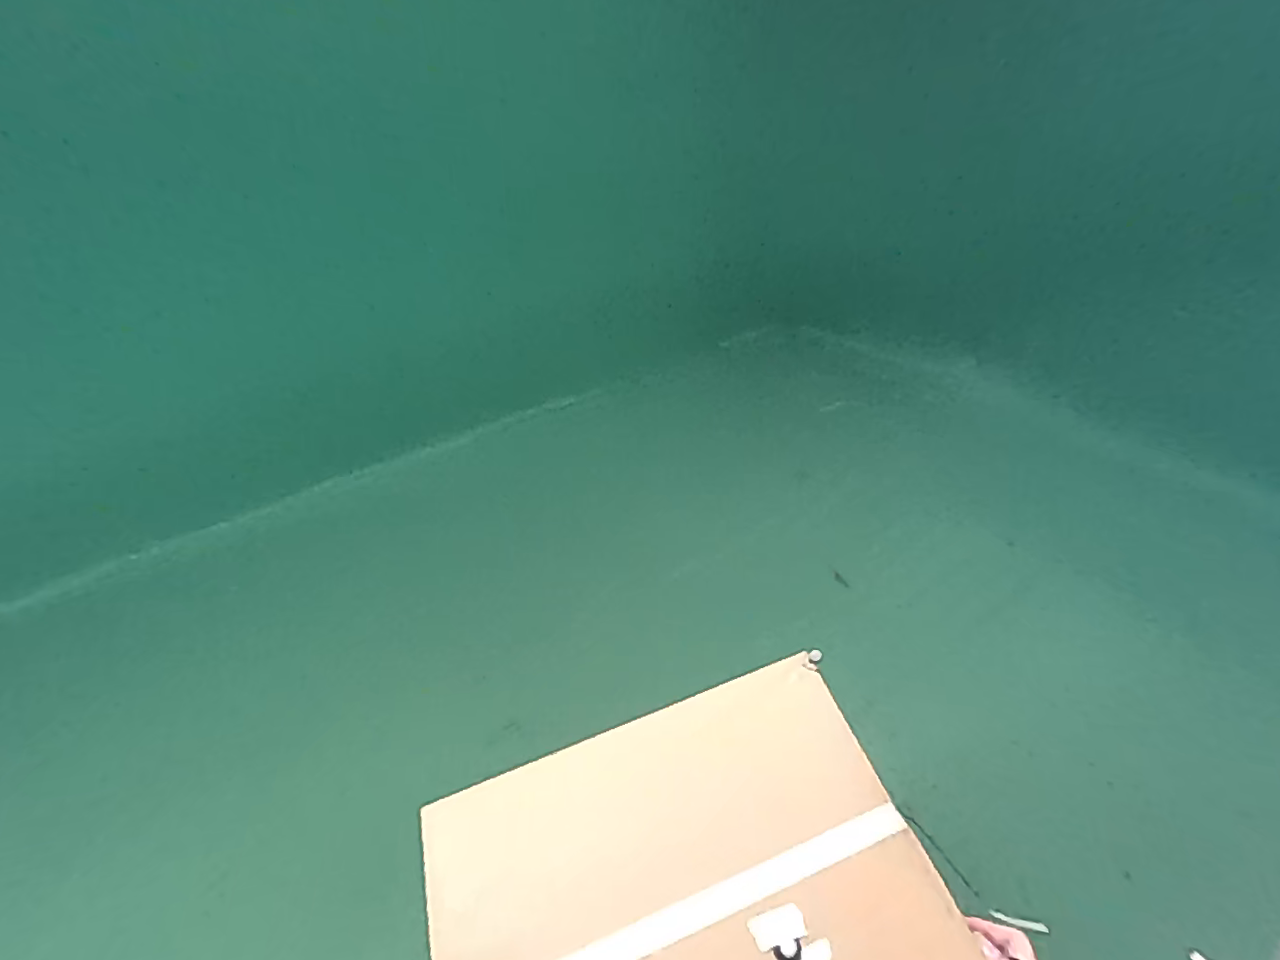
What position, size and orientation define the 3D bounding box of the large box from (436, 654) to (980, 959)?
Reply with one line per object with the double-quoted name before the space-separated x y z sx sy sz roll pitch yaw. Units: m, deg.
"large box" 0.052 0.449 0.570 0.408 0.320 0.320 -18 53 -8
